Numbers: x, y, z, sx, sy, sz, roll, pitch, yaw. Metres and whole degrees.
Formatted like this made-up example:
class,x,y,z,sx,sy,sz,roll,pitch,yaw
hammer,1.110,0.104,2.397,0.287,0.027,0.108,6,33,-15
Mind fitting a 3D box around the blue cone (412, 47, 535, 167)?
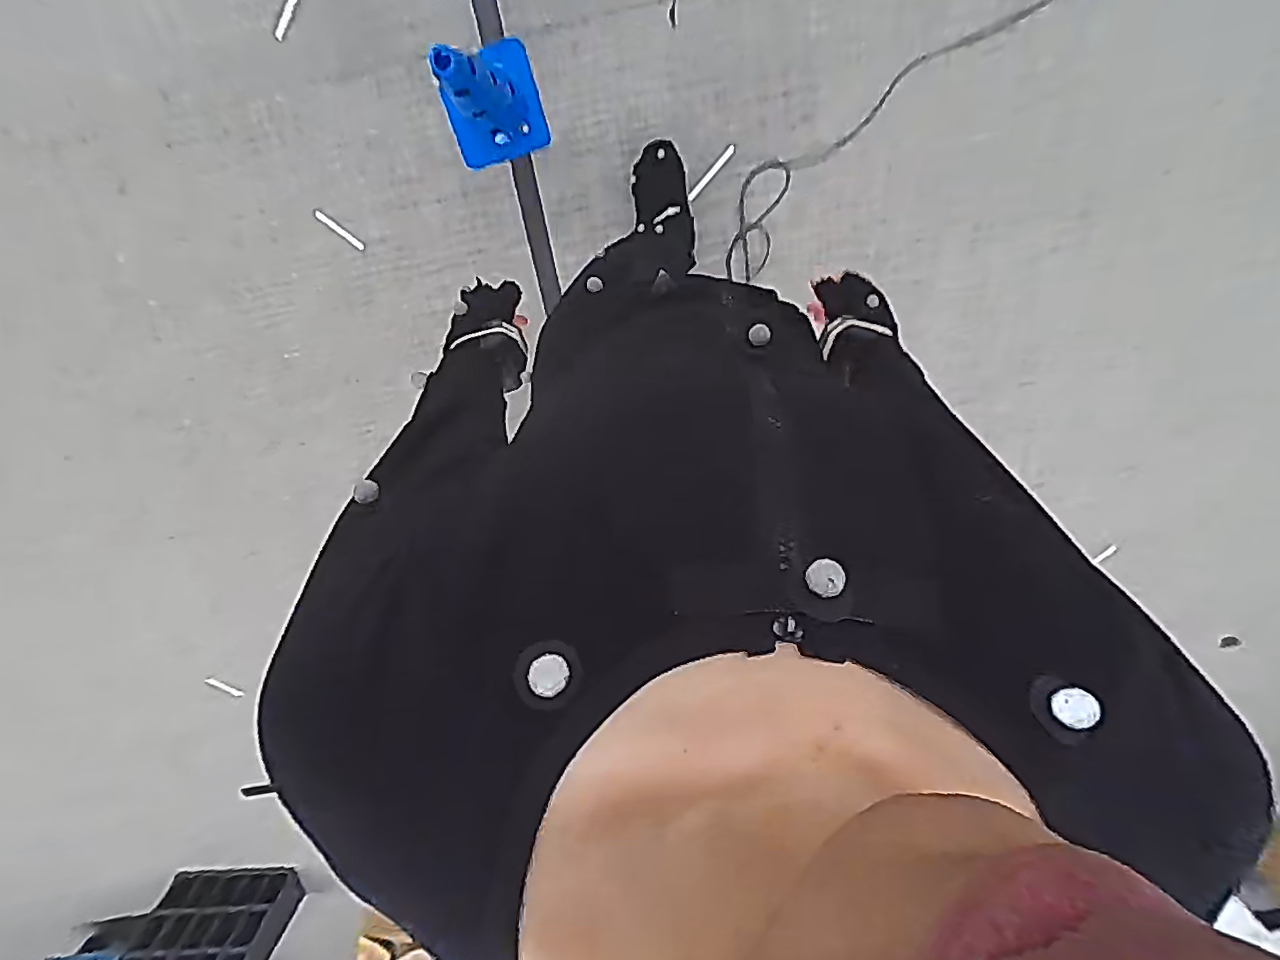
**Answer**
class,x,y,z,sx,sy,sz,roll,pitch,yaw
blue cone,-0.327,-0.719,0.998,0.192,0.380,0.193,-13,115,5
